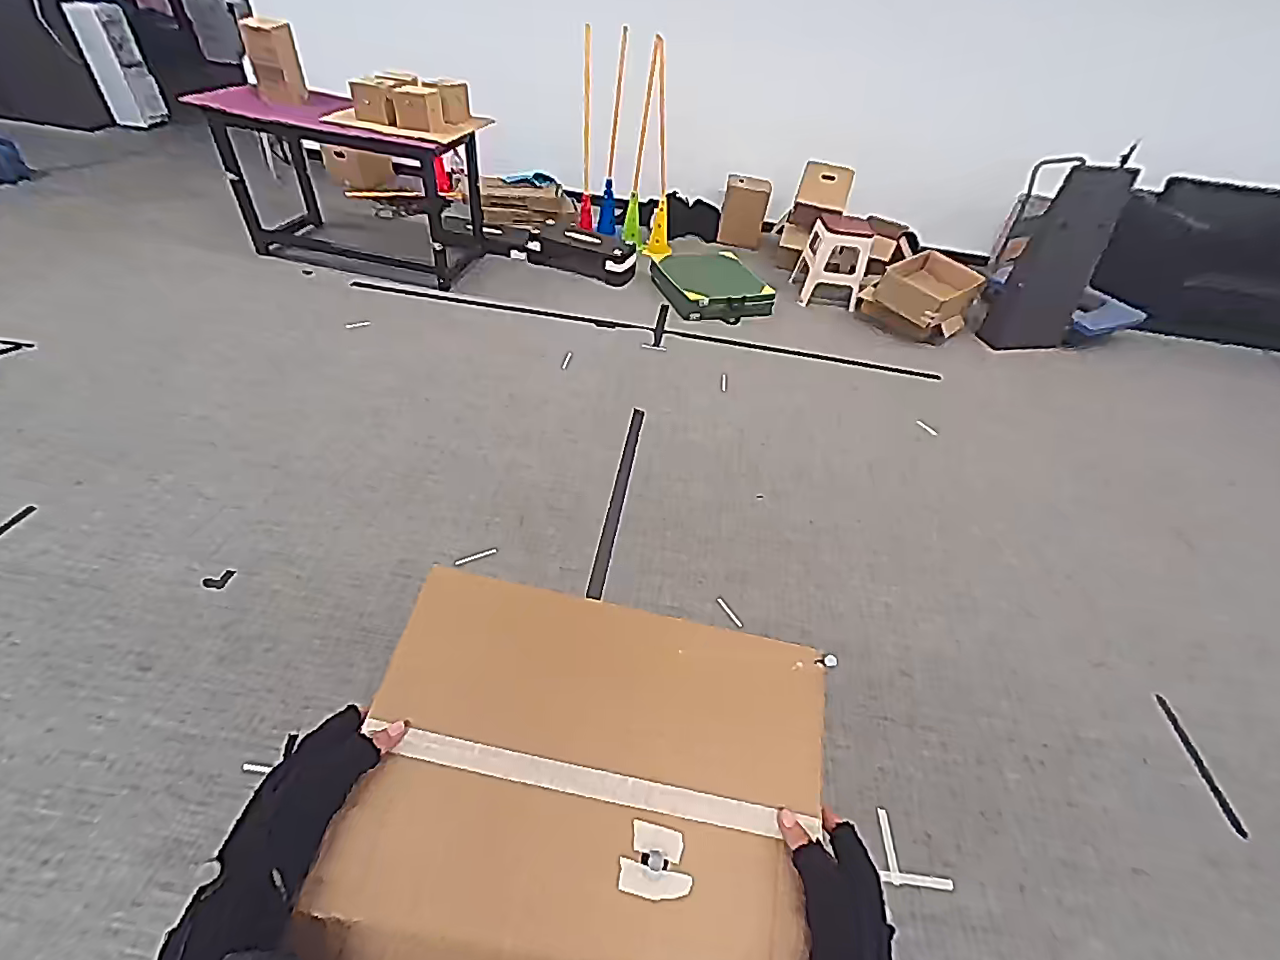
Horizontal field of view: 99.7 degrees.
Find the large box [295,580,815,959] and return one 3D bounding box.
[{"bbox_3d":[-0.057,0.344,0.608,0.408,0.320,0.320,12,60,1],"label":"large box"}]
